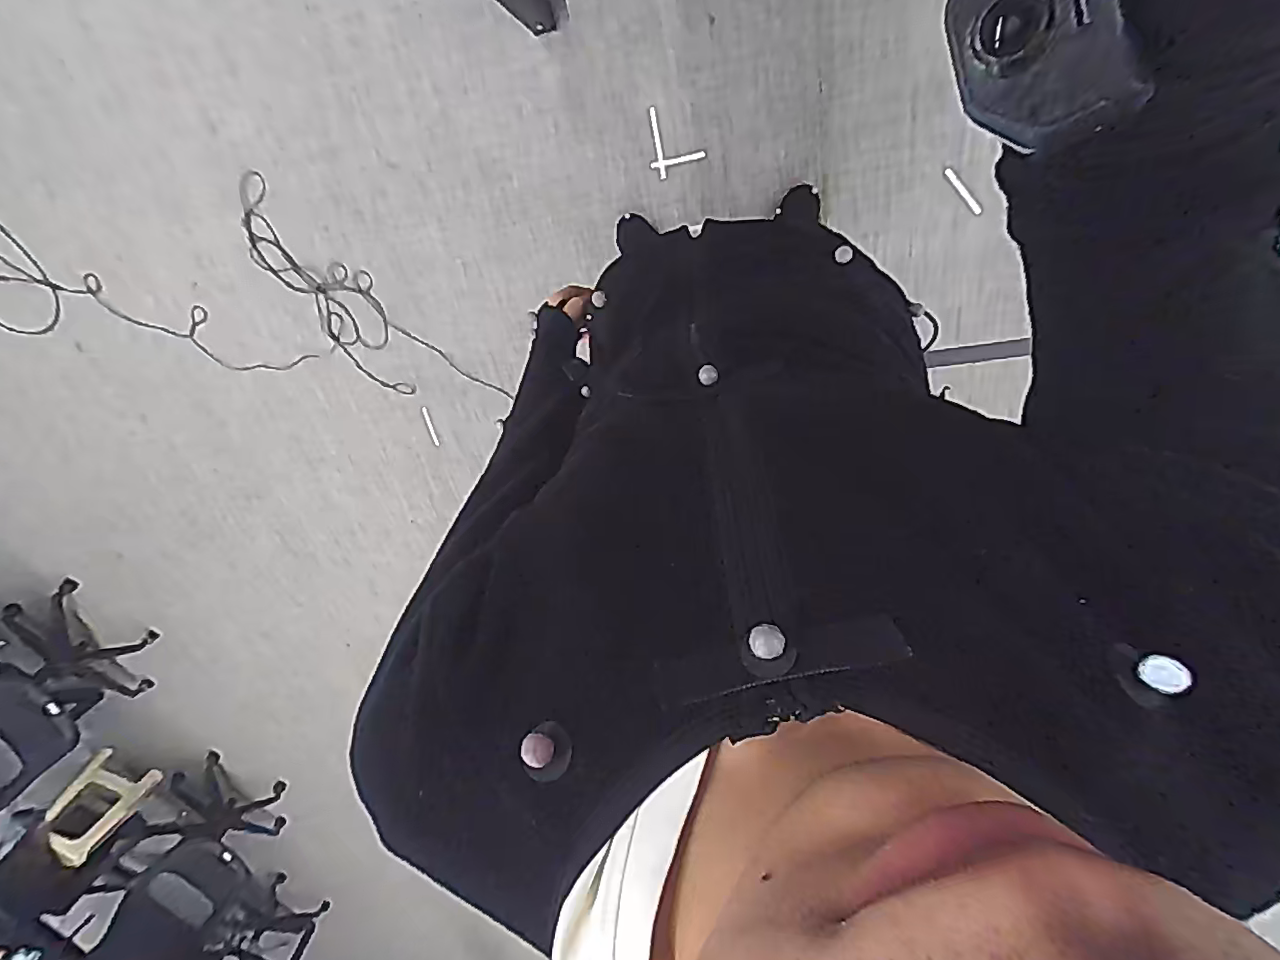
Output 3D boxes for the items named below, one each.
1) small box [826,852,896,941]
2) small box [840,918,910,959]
[{"bbox_3d":[0.678,1.280,1.663,0.168,0.176,0.179,-10,117,11],"label":"small box"},{"bbox_3d":[0.673,1.369,1.524,0.168,0.176,0.179,-12,117,13],"label":"small box"}]
